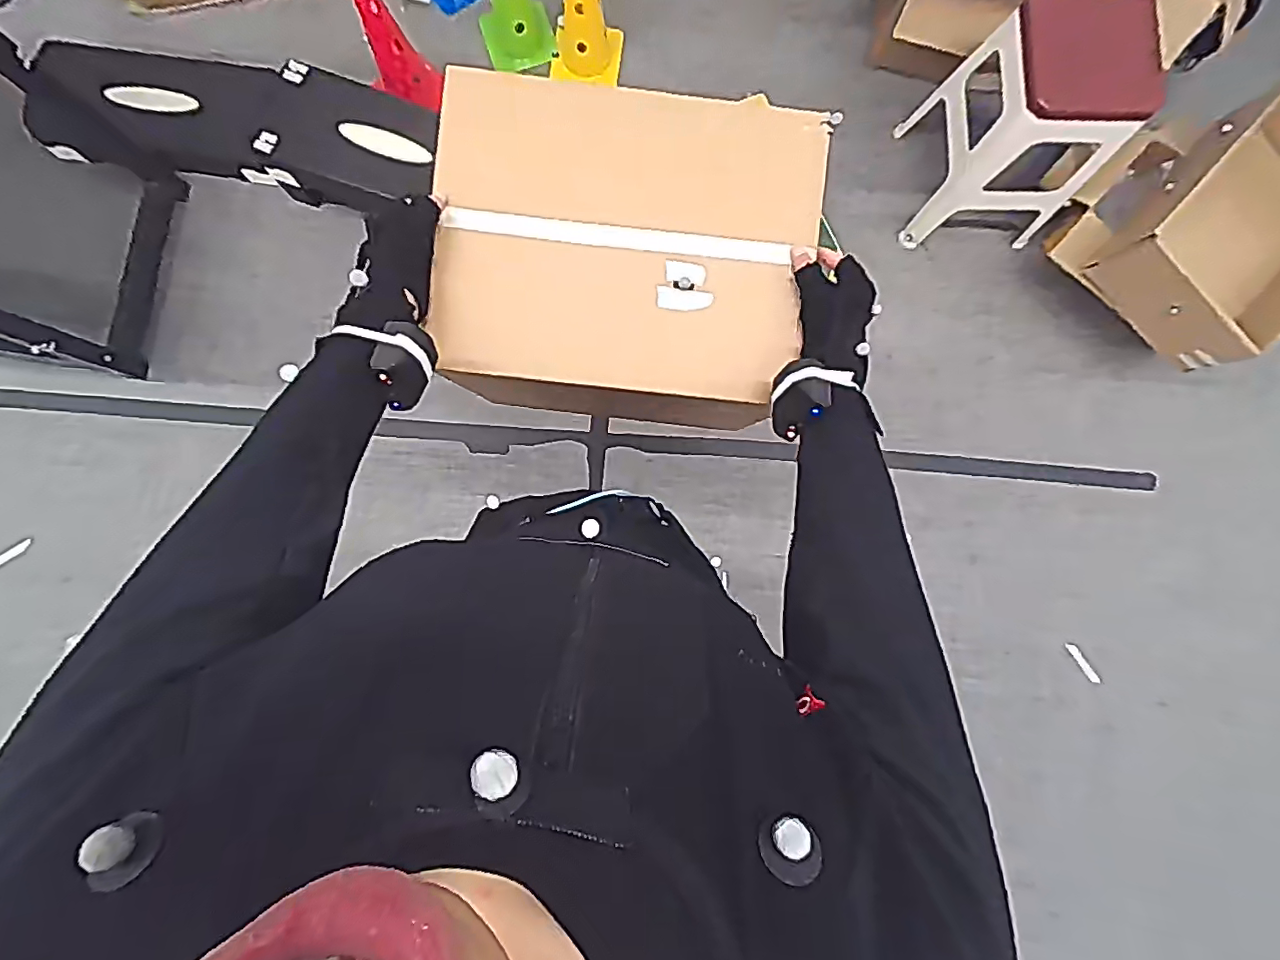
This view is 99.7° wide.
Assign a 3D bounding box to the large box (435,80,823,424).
[{"bbox_3d":[-0.018,-0.259,0.729,0.408,0.320,0.320,6,91,-2],"label":"large box"}]
